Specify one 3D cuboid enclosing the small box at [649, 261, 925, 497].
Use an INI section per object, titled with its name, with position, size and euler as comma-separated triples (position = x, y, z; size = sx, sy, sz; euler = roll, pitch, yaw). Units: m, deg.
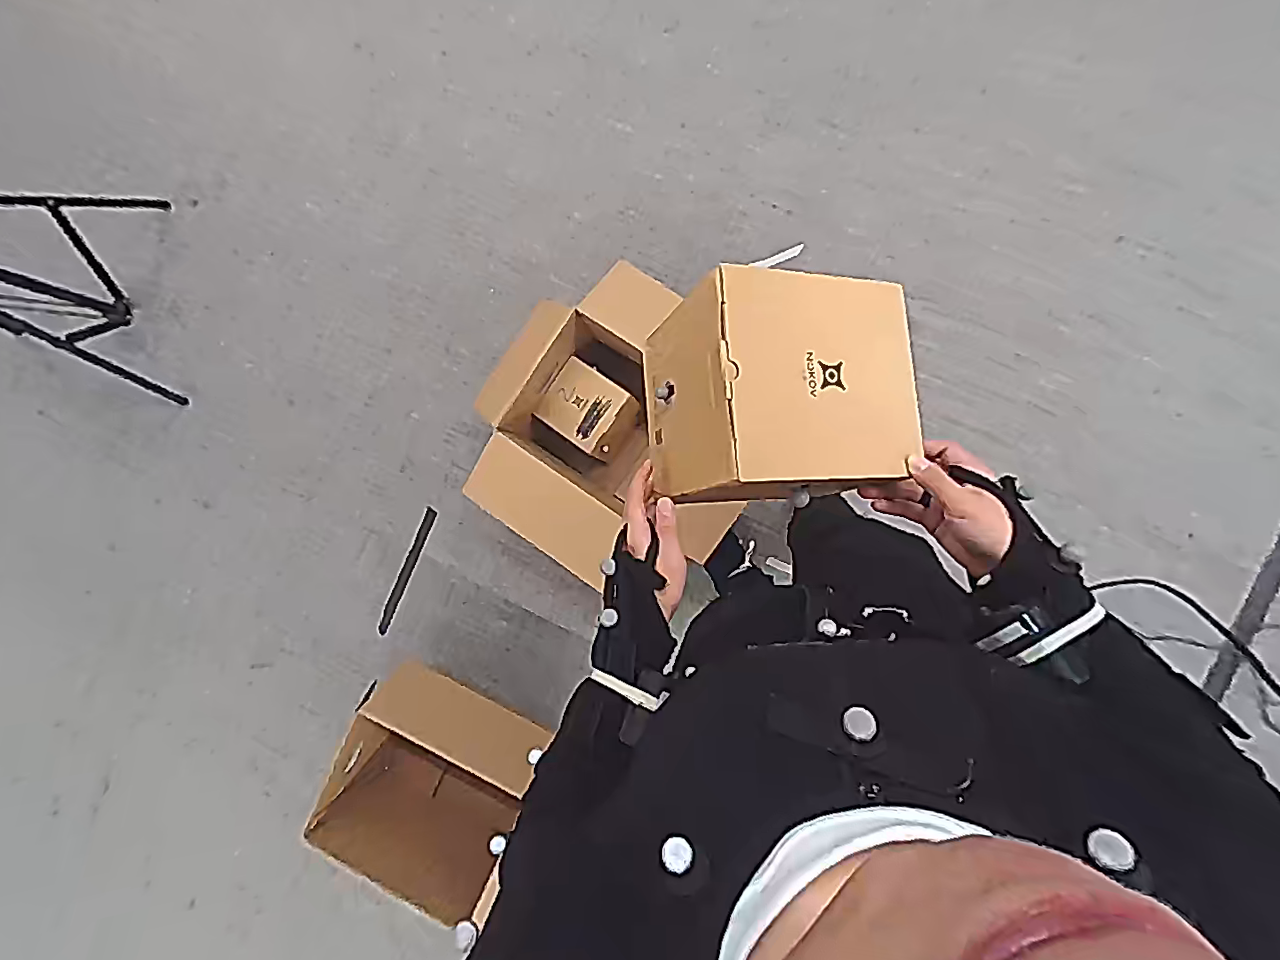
[small box]
position = 0.121, -0.074, 0.495
size = 0.179, 0.176, 0.168
euler = -2, 83, -19
